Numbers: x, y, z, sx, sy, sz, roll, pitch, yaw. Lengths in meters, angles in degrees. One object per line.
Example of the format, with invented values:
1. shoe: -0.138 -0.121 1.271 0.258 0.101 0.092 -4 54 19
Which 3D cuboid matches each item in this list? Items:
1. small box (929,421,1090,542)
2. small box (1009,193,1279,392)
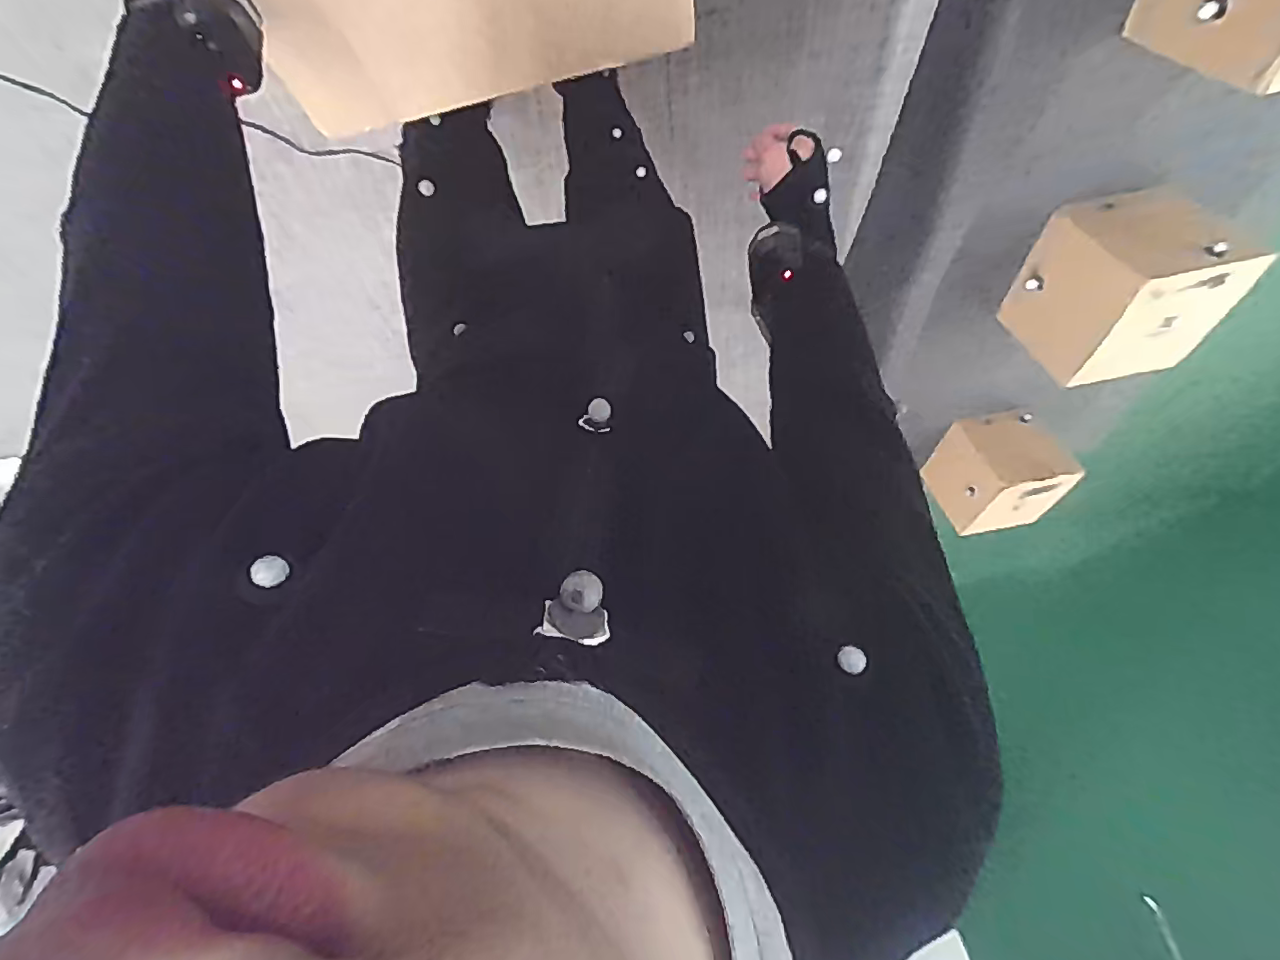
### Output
1. small box: 0.716 -0.003 1.076 0.168 0.176 0.179 -9 144 -6
2. small box: 0.646 -0.249 0.728 0.168 0.176 0.179 -12 145 -3
